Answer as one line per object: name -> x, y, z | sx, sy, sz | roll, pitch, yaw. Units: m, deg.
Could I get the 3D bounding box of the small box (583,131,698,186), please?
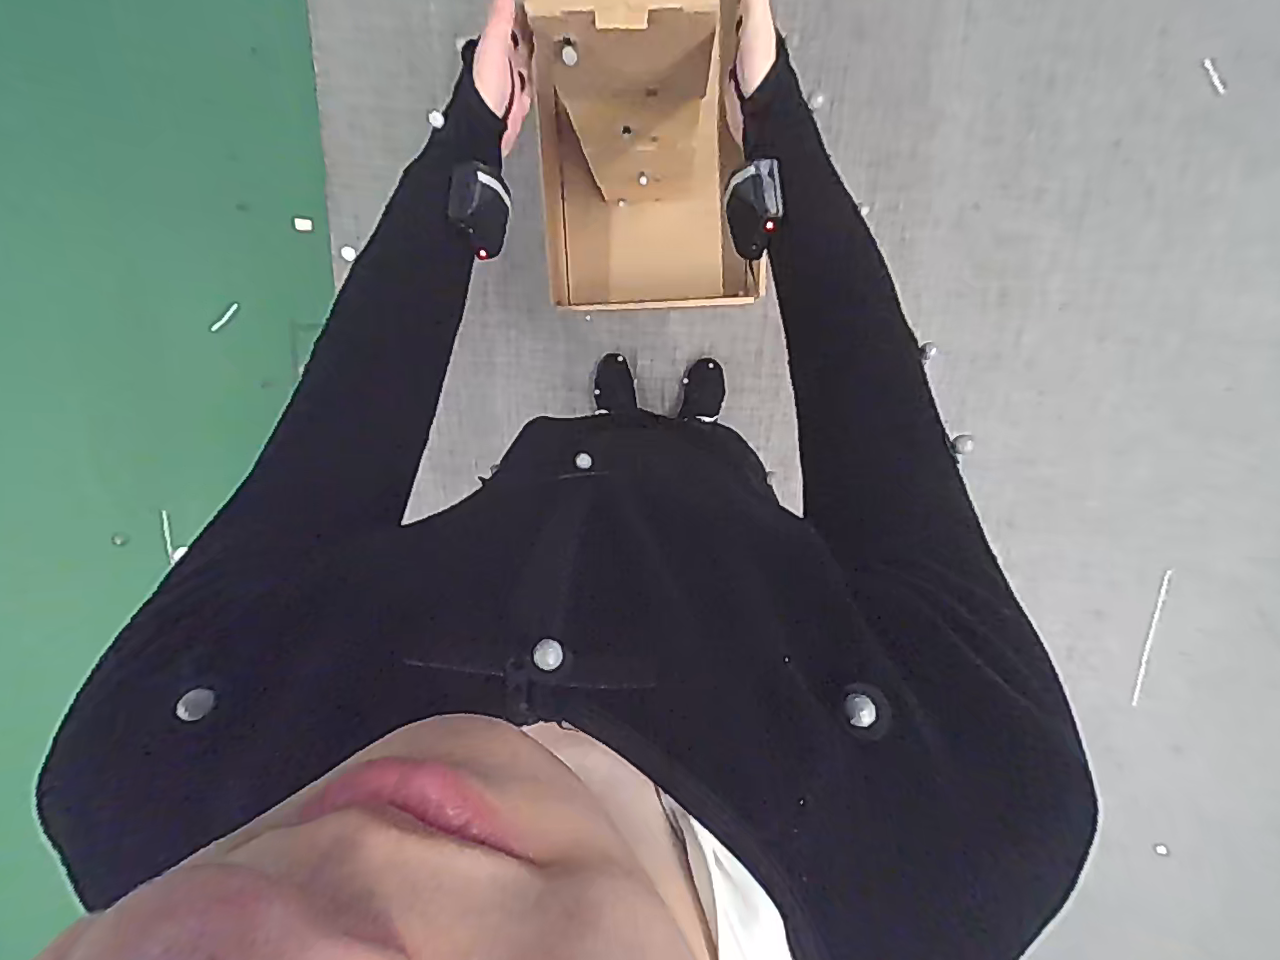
small box -> 0.001, -0.570, 0.824 | 0.168, 0.176, 0.179 | -1, 103, 3

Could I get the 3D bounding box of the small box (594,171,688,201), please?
small box -> 0.007, -0.619, 0.981 | 0.168, 0.176, 0.179 | -1, 102, 2

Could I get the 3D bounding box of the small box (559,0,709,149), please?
small box -> -0.006, -0.537, 0.665 | 0.168, 0.176, 0.179 | -2, 104, 2
